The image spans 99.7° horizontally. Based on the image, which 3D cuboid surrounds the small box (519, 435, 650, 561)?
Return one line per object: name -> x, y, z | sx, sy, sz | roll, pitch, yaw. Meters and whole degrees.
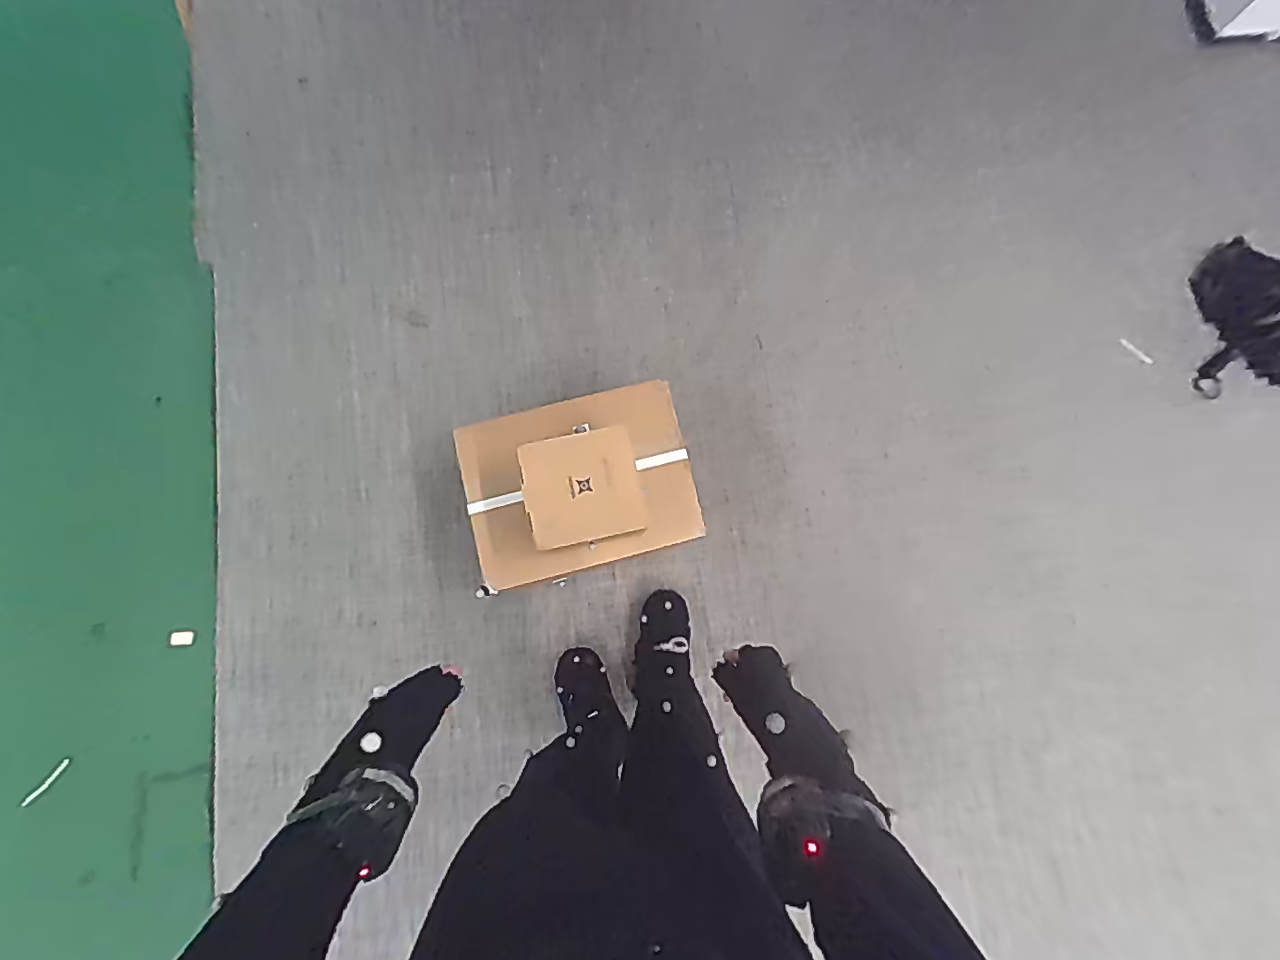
small box -> -0.088, 0.038, 0.903 | 0.179, 0.176, 0.168 | -13, 81, -5
